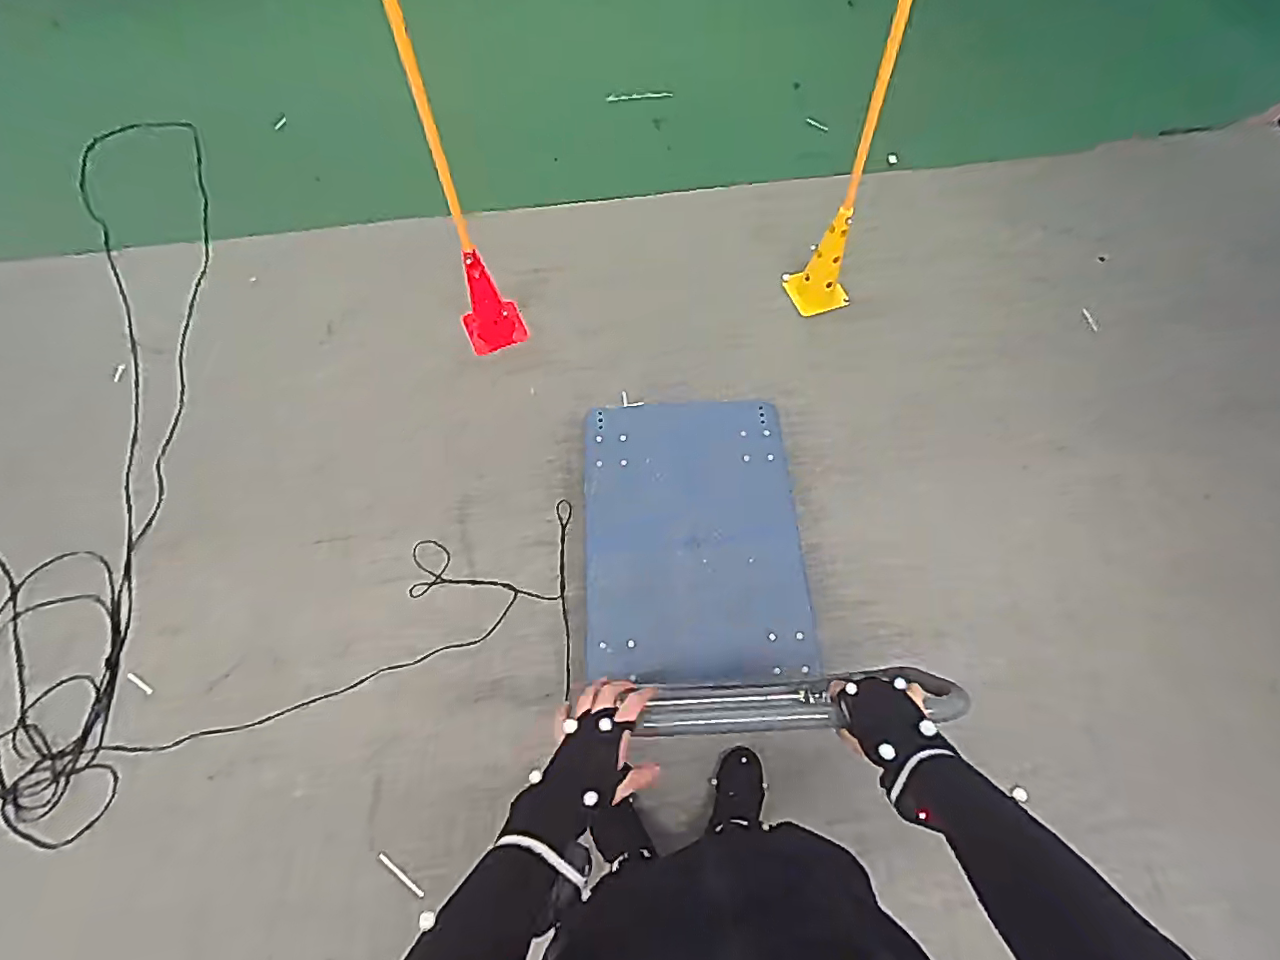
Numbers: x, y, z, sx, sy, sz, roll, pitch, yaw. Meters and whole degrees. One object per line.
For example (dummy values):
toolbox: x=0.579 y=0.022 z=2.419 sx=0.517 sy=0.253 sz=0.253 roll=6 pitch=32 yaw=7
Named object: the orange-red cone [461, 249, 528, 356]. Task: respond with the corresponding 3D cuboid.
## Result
orange-red cone: x=-0.521 y=-0.610 z=1.786 sx=0.199 sy=0.360 sz=0.198 roll=-22 pitch=67 yaw=-8
